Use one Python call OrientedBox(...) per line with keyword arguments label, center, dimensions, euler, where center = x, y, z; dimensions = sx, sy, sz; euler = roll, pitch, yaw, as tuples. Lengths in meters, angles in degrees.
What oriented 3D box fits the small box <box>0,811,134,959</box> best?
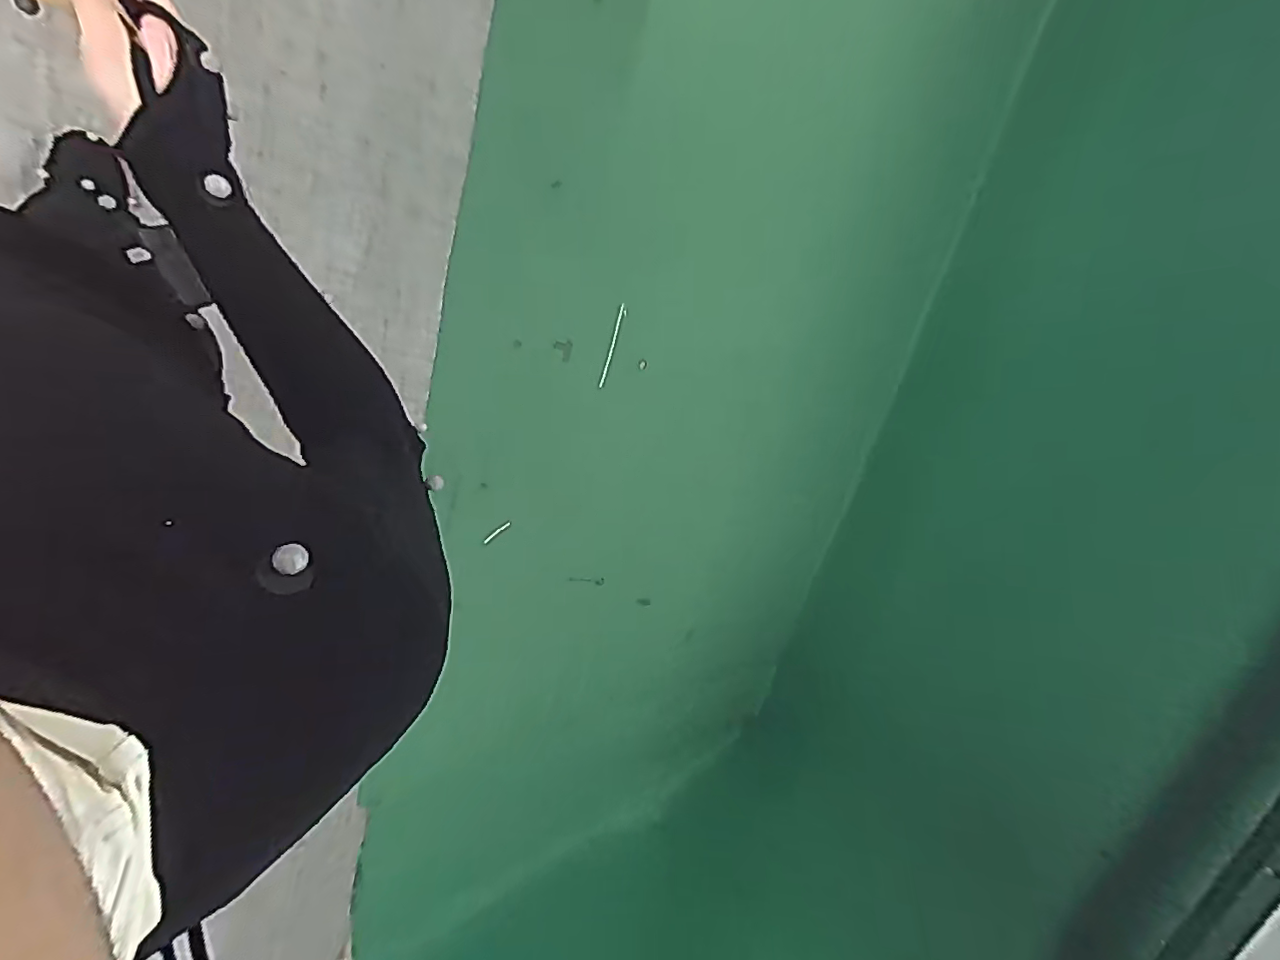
OrientedBox(label="small box", center=(-0.978, 0.713, 0.914), dimensions=(0.168, 0.176, 0.179), euler=(5, 109, -47))
